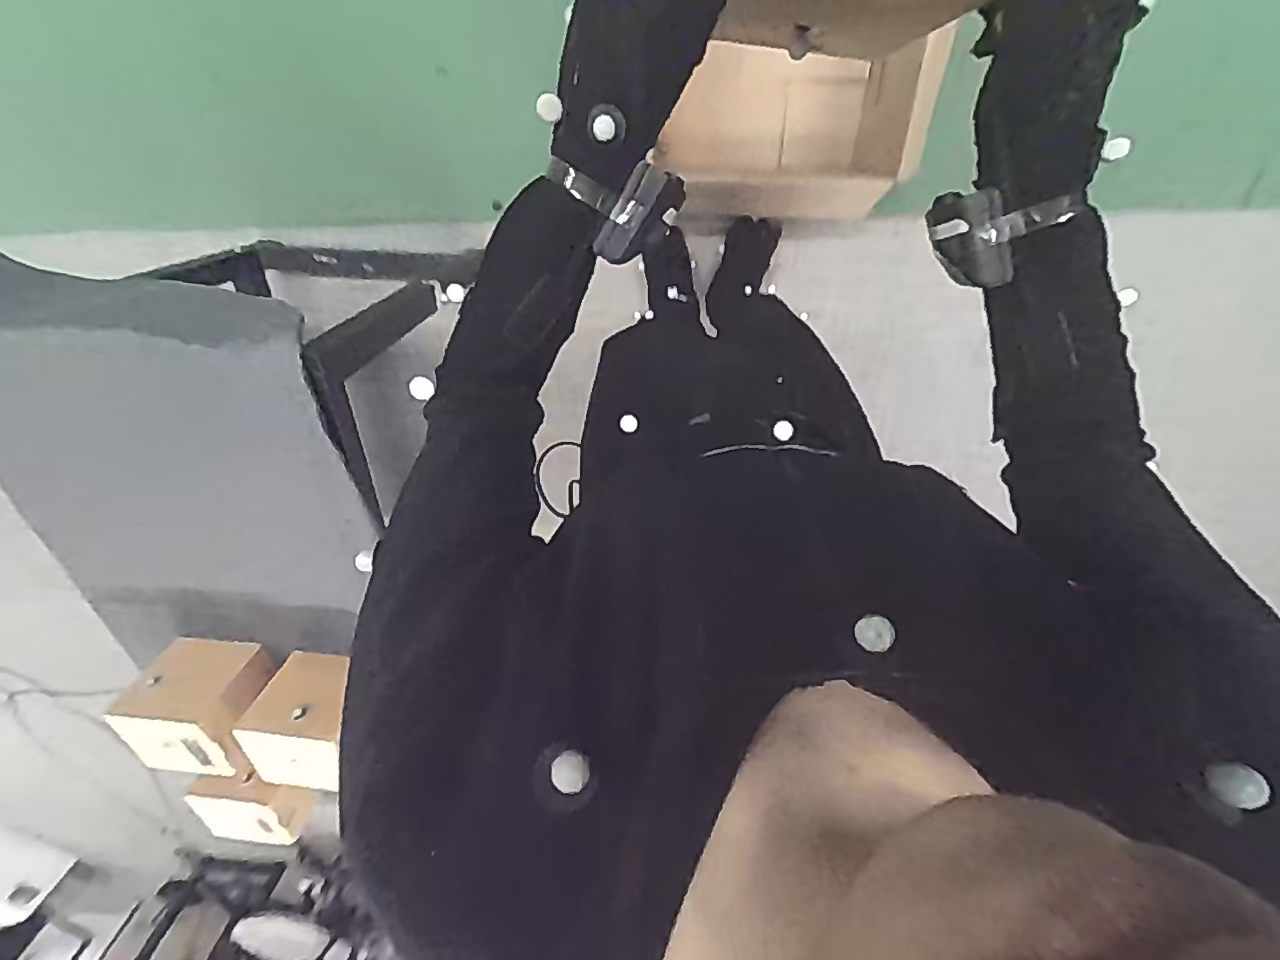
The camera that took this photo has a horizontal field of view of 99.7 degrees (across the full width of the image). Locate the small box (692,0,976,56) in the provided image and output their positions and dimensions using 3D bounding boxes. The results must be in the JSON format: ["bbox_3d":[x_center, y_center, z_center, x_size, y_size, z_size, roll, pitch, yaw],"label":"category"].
[{"bbox_3d":[0.128,-0.393,0.326,0.168,0.176,0.179,4,117,-4],"label":"small box"}]

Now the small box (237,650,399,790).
[{"bbox_3d":[-0.584,0.440,1.006,0.179,0.176,0.168,5,123,4],"label":"small box"}]

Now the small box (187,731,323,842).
[{"bbox_3d":[-0.792,0.636,1.154,0.179,0.176,0.168,5,123,4],"label":"small box"}]
